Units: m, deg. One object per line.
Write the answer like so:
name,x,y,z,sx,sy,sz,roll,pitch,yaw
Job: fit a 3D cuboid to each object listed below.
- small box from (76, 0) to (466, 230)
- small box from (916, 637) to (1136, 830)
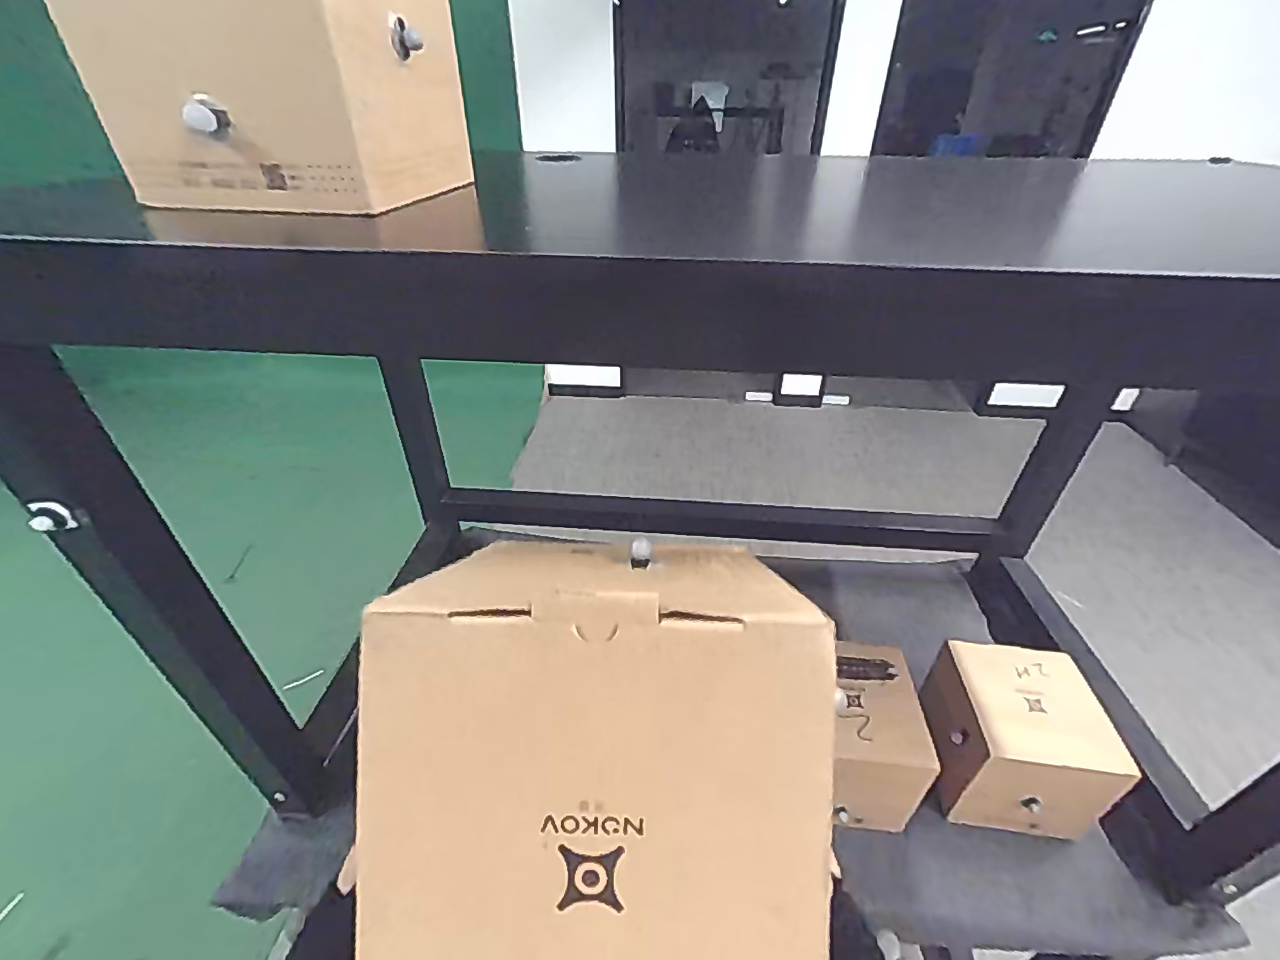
small box,-0.235,-0.285,0.377,0.168,0.176,0.179,4,36,5
small box,0.508,0.348,0.746,0.168,0.176,0.179,5,35,7
